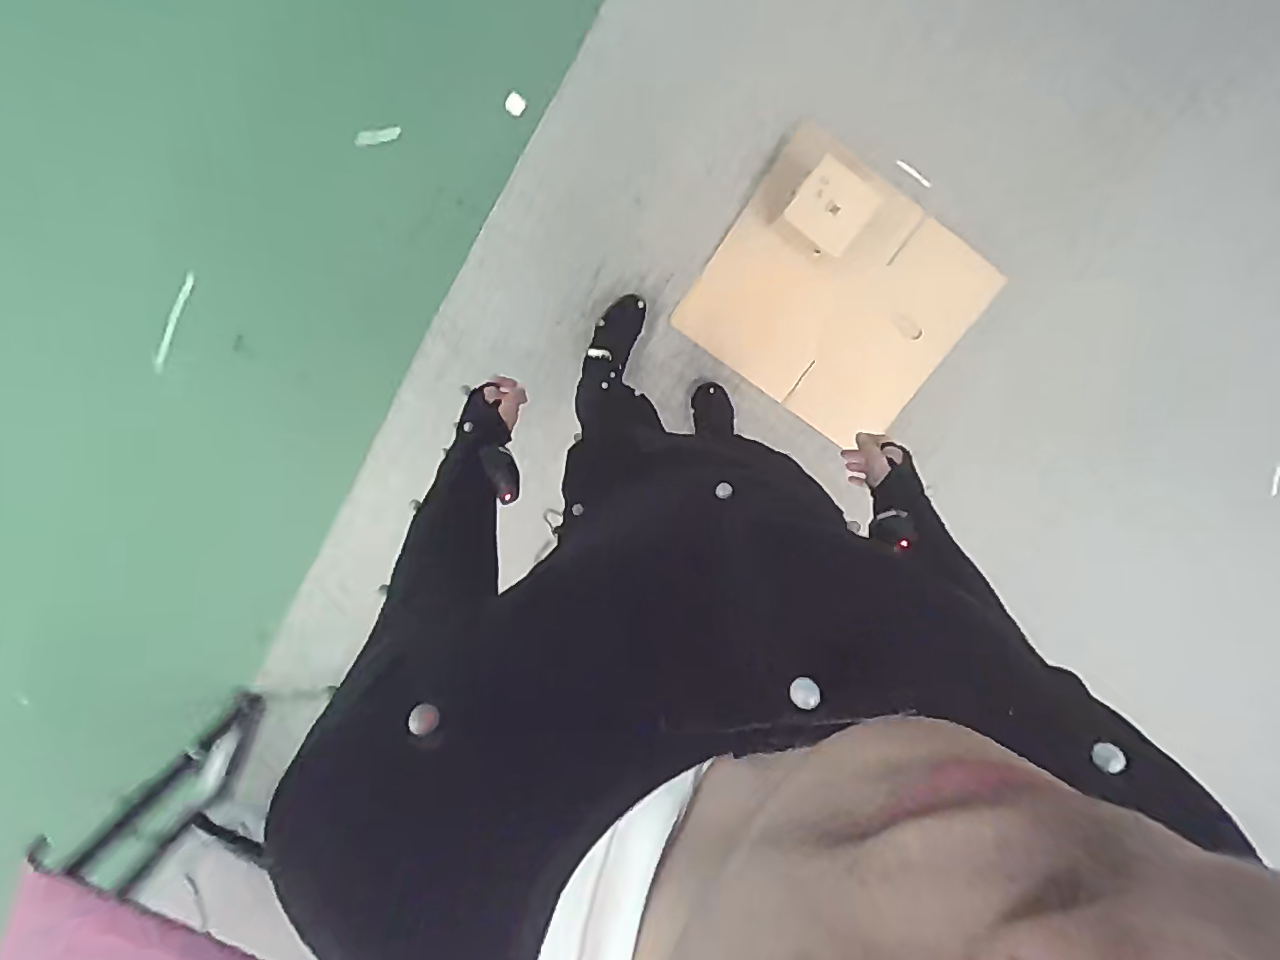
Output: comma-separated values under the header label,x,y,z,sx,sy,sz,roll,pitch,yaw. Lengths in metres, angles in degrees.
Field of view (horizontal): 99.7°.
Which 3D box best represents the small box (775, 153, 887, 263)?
label,x,y,z,sx,sy,sz,roll,pitch,yaw
small box,0.461,-0.658,1.336,0.179,0.176,0.168,36,104,-7
